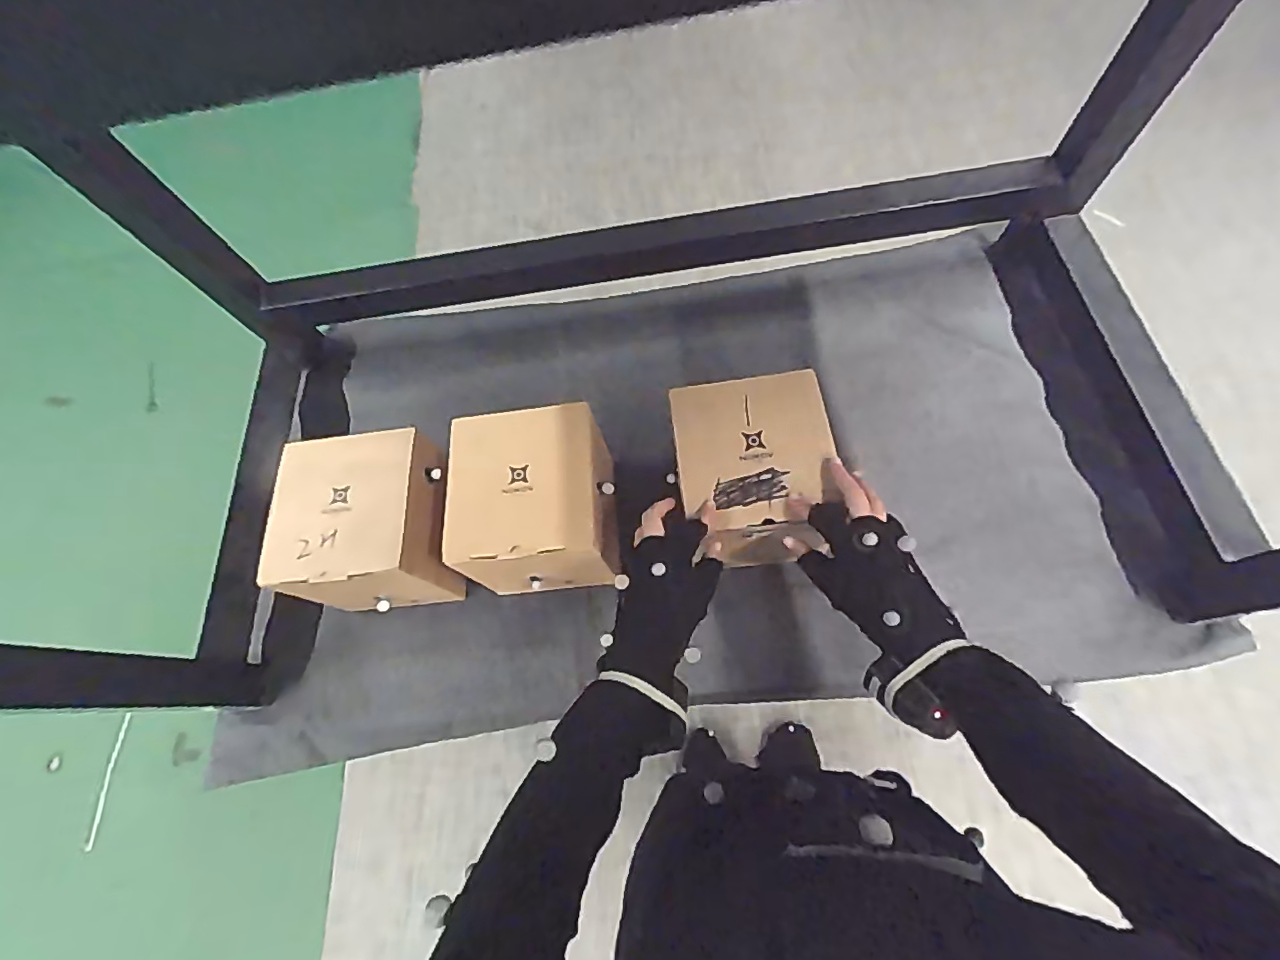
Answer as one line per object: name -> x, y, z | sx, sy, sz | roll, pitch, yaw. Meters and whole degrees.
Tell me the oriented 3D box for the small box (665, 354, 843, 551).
small box -> 0.126, -0.020, 0.644 | 0.168, 0.176, 0.179 | -8, 67, 5
